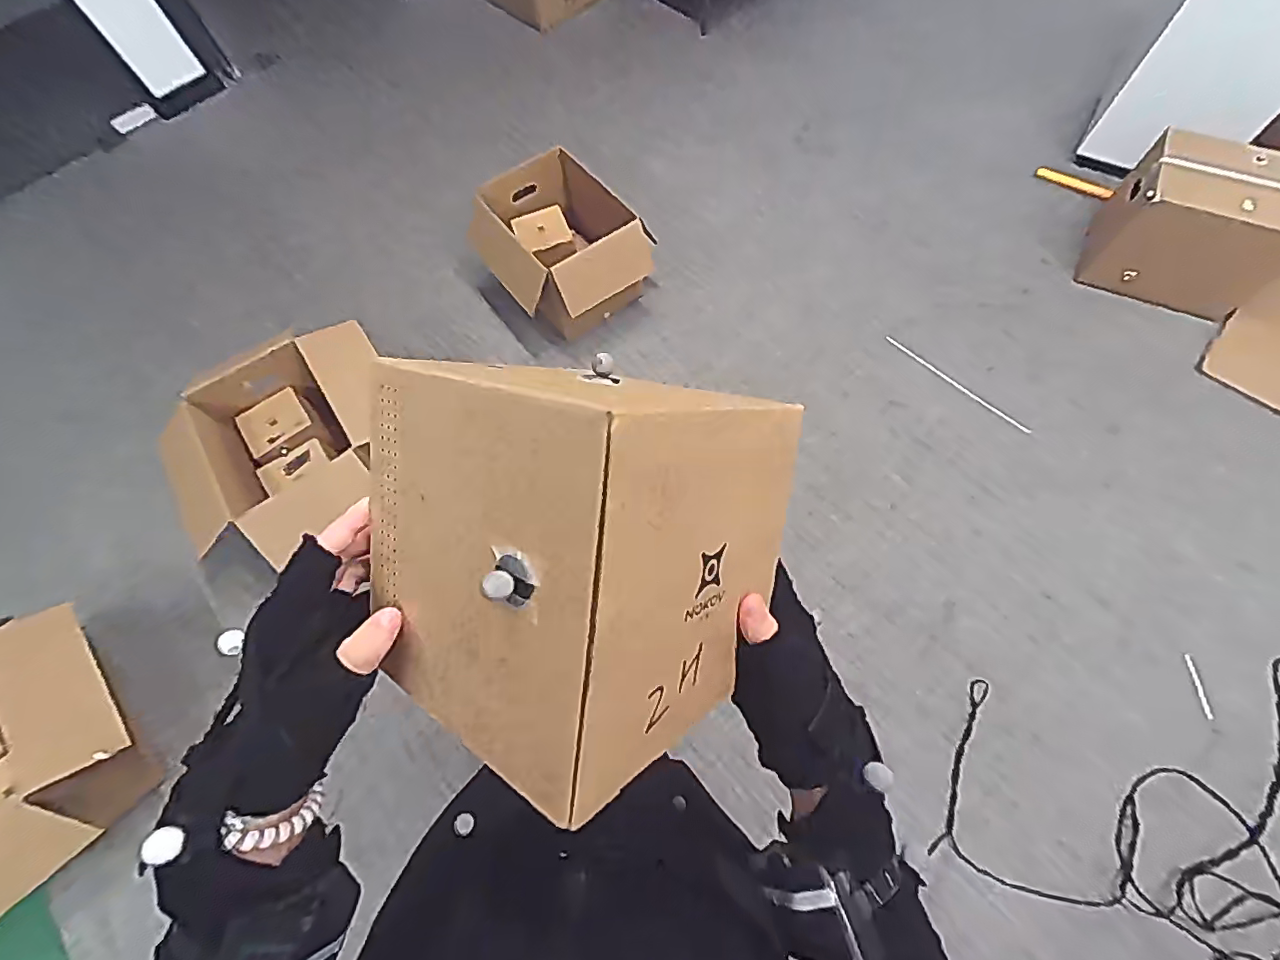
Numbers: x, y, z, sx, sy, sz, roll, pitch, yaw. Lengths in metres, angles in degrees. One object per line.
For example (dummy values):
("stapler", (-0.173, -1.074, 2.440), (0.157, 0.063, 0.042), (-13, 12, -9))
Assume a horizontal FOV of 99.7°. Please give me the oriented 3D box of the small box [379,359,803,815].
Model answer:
("small box", (-0.030, 0.028, 0.308), (0.176, 0.168, 0.179), (16, 106, 37))
